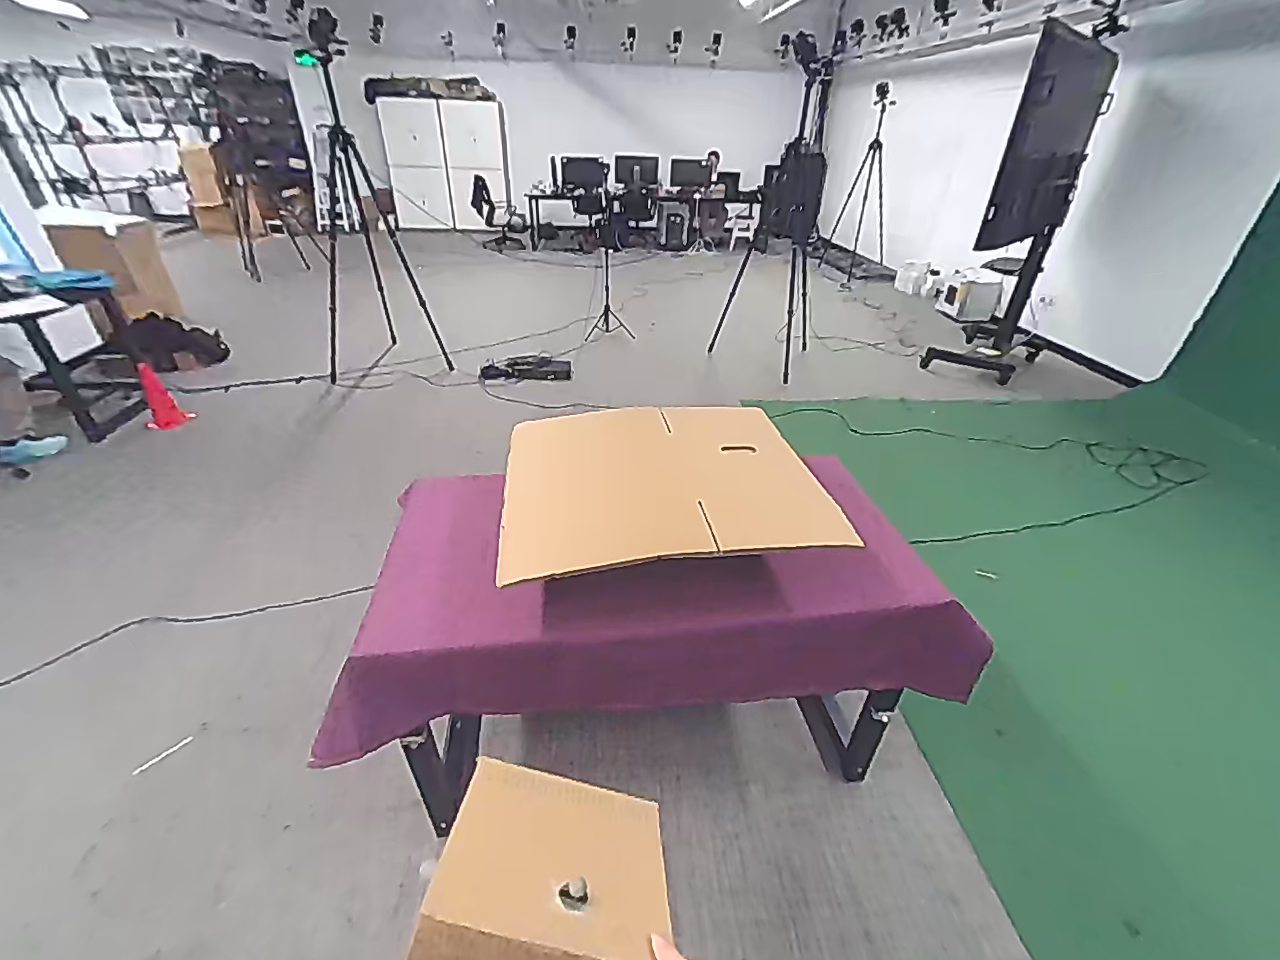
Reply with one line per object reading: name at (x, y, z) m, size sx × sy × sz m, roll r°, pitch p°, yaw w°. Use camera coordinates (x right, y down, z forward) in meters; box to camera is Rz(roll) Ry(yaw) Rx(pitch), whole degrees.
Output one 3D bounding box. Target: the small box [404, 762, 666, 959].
small box at (-0.088, 0.368, 0.443) m, size 0.179 × 0.168 × 0.176 m, roll 17°, pitch 5°, yaw -4°
